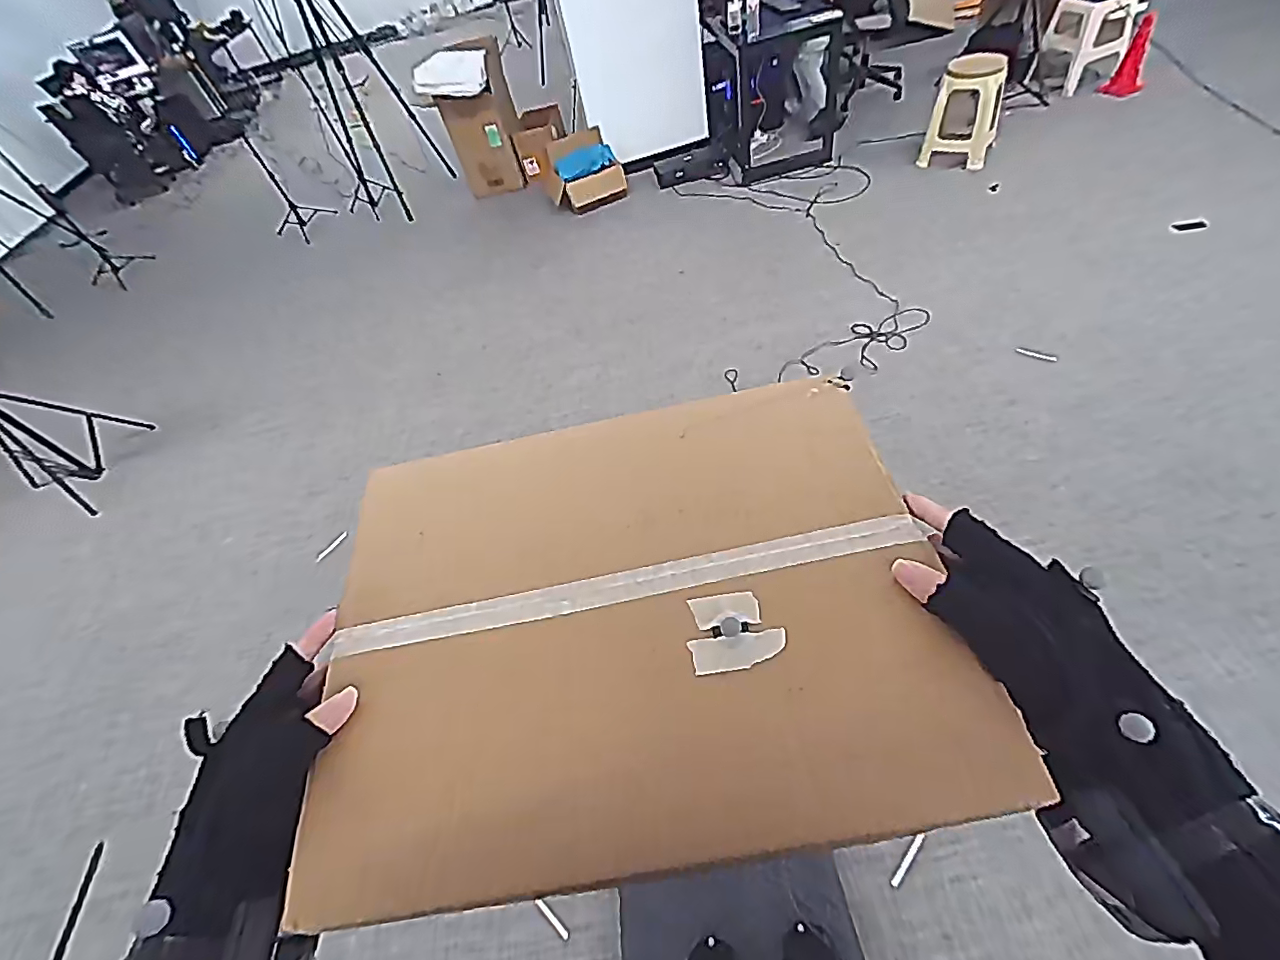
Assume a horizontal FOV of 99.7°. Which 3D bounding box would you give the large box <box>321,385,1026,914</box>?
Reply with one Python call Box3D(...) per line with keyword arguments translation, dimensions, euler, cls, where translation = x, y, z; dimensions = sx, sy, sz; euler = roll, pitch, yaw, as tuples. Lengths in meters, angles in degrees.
Box3D(translation=(0.014, 0.165, 0.500), dimensions=(0.408, 0.320, 0.320), euler=(-11, 54, 2), cls="large box")
